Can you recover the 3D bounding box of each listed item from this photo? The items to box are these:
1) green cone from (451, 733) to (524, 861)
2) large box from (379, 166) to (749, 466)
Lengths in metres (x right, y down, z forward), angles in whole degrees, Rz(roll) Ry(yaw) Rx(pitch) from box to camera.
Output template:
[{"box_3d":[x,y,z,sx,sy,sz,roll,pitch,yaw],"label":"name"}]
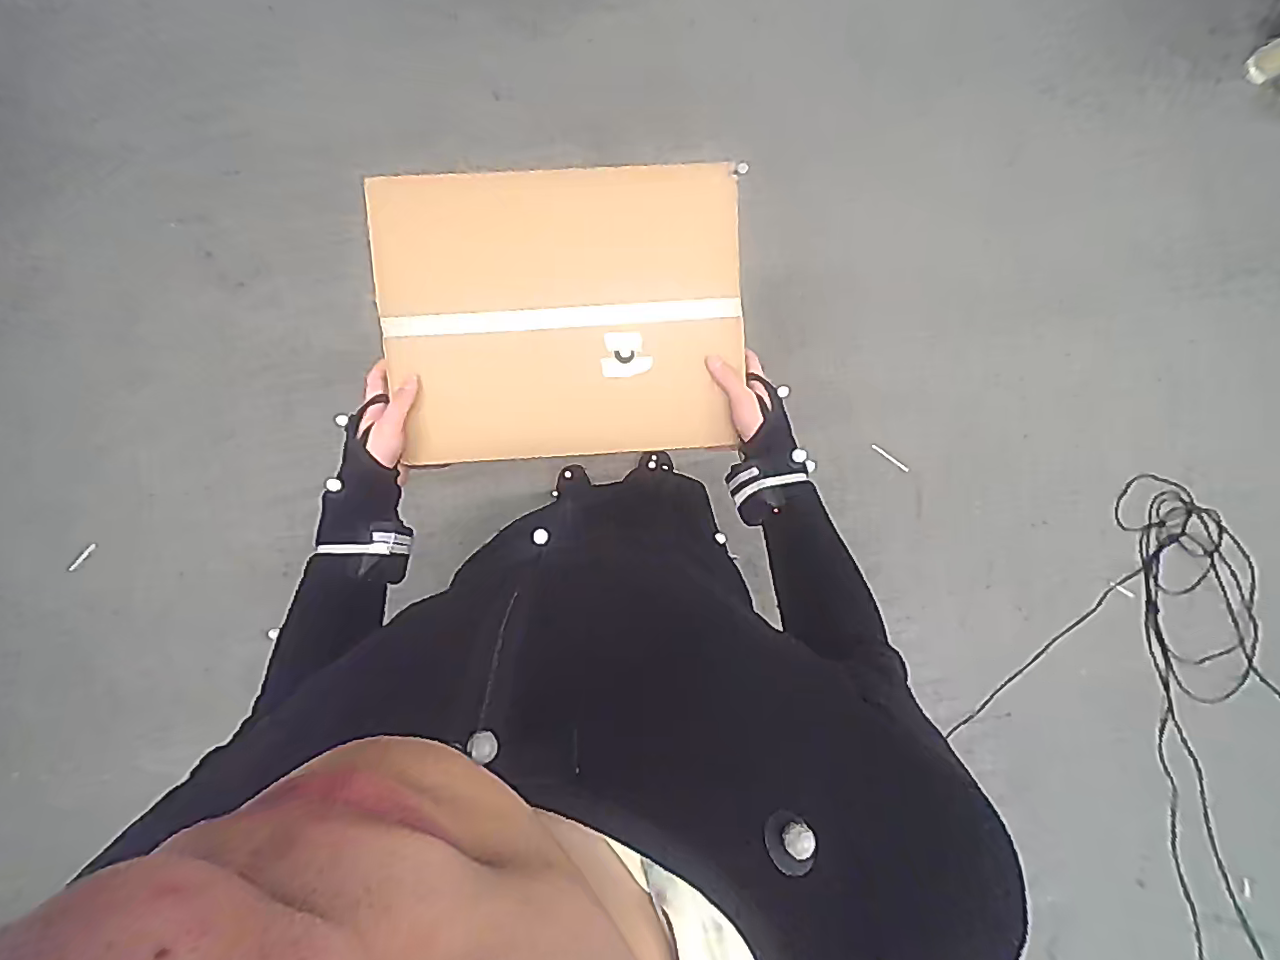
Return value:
[{"box_3d":[-0.445,0.872,1.460,0.200,0.368,0.202,-3,93,-3],"label":"green cone"},{"box_3d":[-0.087,-0.204,0.766,0.408,0.320,0.320,-4,99,-3],"label":"large box"}]
